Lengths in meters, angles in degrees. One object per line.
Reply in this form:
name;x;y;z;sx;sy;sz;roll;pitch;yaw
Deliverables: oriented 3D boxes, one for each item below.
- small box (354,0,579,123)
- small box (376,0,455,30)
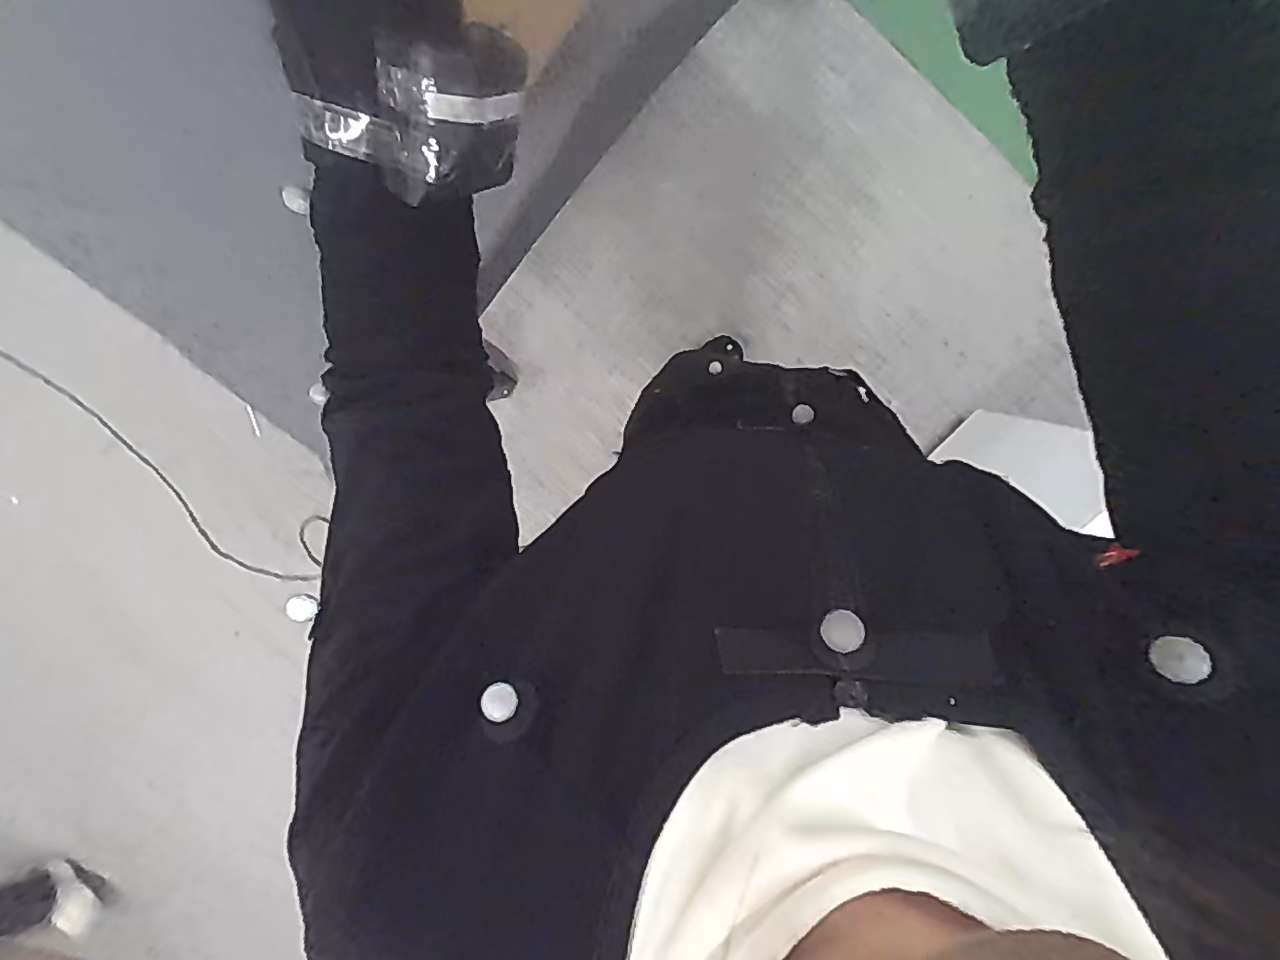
small box;-0.178;-0.491;0.512;0.168;0.176;0.179;42;104;-5
small box;-0.200;-0.460;0.351;0.179;0.176;0.168;40;103;-3
